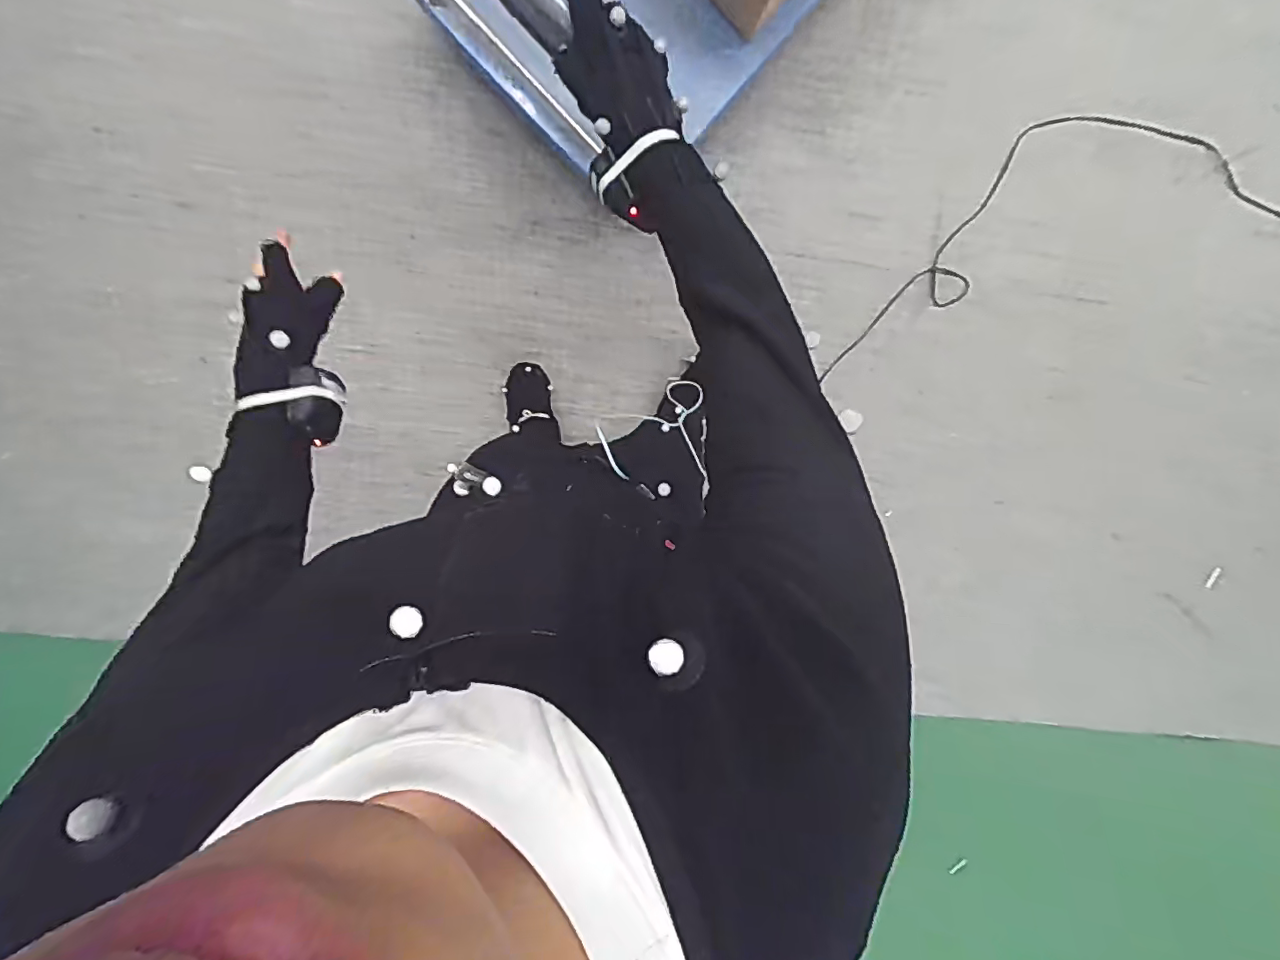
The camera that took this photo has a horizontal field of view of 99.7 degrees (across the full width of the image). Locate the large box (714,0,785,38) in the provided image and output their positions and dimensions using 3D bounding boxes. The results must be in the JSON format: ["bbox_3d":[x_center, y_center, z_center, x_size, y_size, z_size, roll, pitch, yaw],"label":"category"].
[{"bbox_3d":[0.165,-1.019,0.818,0.408,0.320,0.320,39,103,-13],"label":"large box"}]
